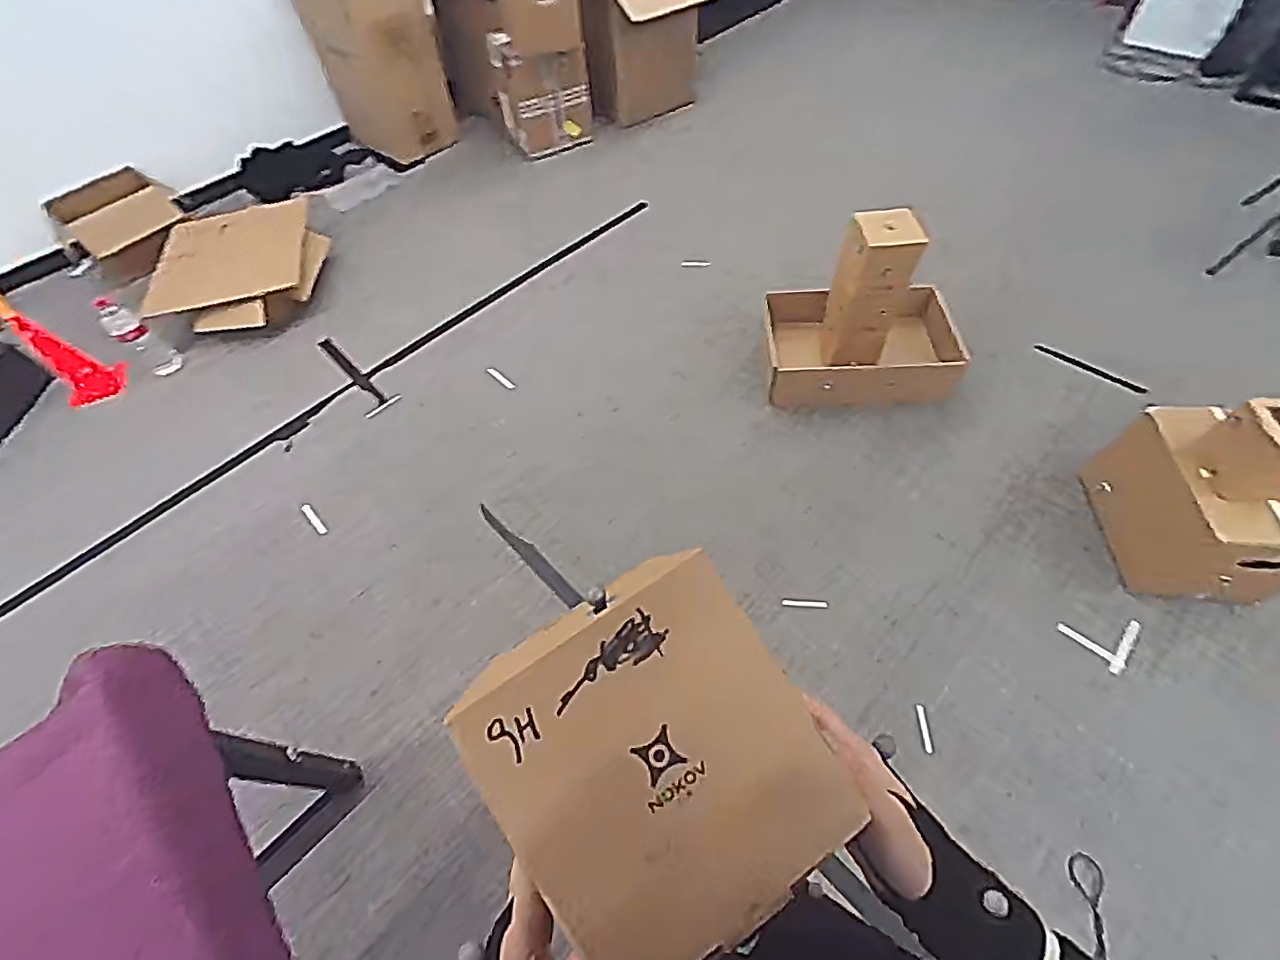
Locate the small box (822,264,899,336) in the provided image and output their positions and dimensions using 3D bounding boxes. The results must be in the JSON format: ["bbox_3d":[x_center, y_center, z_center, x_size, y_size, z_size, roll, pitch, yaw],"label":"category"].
[{"bbox_3d":[0.711,-0.586,1.761,0.168,0.176,0.179,-4,55,0],"label":"small box"}]

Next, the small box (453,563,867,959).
[{"bbox_3d":[0.005,0.170,0.368,0.168,0.176,0.179,-32,86,-11],"label":"small box"}]

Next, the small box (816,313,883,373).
[{"bbox_3d":[0.727,-0.495,1.894,0.168,0.176,0.179,-1,57,4],"label":"small box"}]

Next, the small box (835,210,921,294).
[{"bbox_3d":[0.706,-0.678,1.623,0.168,0.176,0.179,-4,56,-1],"label":"small box"}]
